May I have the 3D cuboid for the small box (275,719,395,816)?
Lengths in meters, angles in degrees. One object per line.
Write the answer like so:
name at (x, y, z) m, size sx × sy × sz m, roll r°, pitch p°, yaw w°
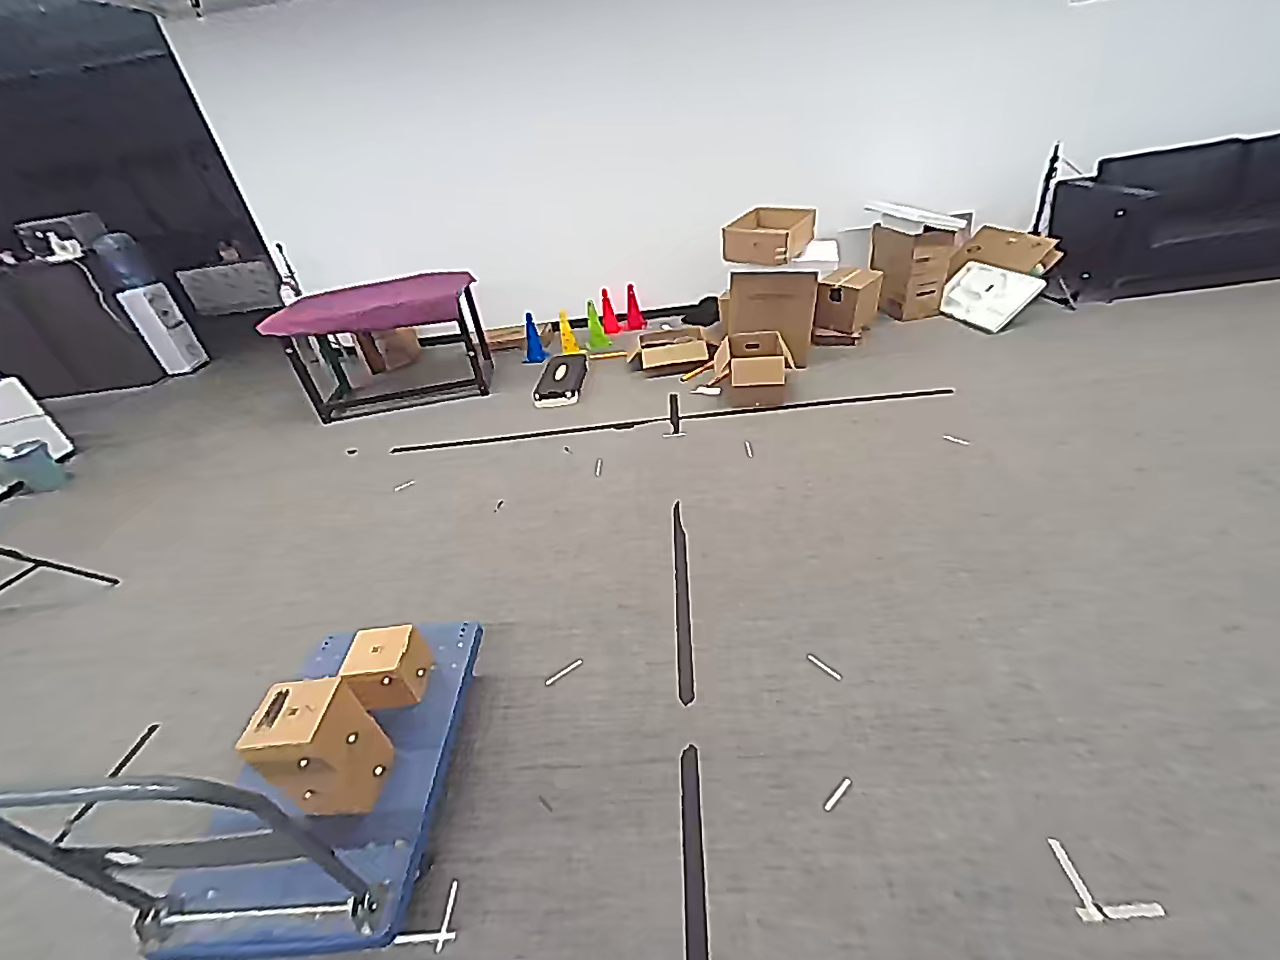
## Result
small box at (-0.762, 0.730, 1.372) m, size 0.179 × 0.176 × 0.168 m, roll -4°, pitch 35°, yaw 6°

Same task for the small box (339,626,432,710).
small box at (-0.752, 0.565, 1.616) m, size 0.179 × 0.176 × 0.168 m, roll -8°, pitch 34°, yaw 1°
